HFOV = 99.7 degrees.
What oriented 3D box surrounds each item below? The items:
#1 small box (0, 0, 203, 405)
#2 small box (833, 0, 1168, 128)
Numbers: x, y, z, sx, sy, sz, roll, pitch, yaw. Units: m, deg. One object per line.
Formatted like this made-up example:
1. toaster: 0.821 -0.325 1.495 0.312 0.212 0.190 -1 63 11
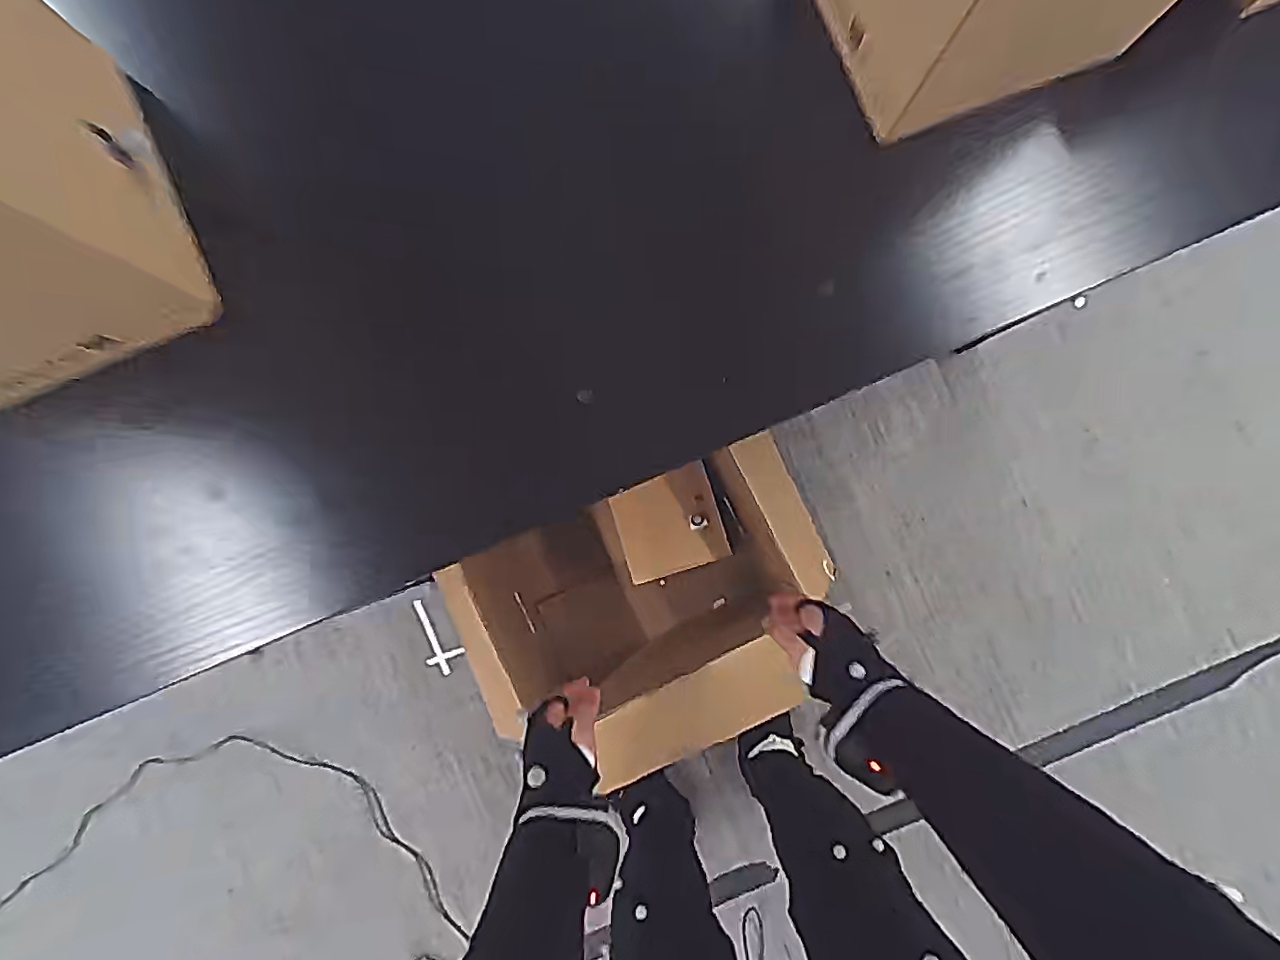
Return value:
1. small box: -0.363 -0.149 0.246 0.168 0.176 0.179 -24 87 -3
2. small box: 0.202 -0.320 0.266 0.179 0.176 0.168 -21 87 -3
